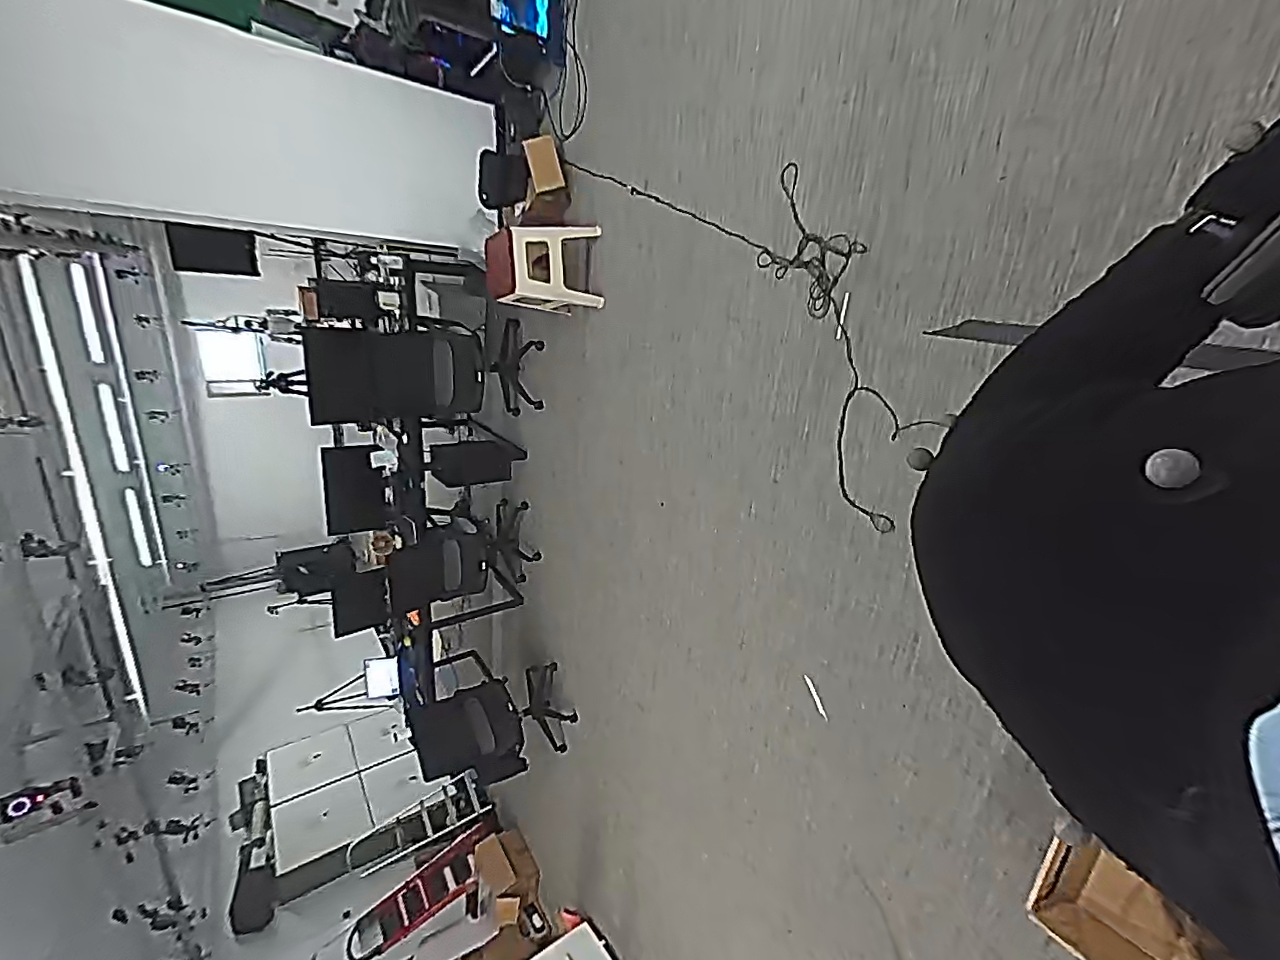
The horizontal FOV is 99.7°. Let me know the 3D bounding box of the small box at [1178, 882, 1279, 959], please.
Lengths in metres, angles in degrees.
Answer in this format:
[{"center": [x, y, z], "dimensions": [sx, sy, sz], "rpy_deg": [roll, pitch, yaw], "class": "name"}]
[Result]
[{"center": [1.163, 0.930, 1.031], "dimensions": [0.168, 0.176, 0.179], "rpy_deg": [22, 115, 51], "class": "small box"}]
